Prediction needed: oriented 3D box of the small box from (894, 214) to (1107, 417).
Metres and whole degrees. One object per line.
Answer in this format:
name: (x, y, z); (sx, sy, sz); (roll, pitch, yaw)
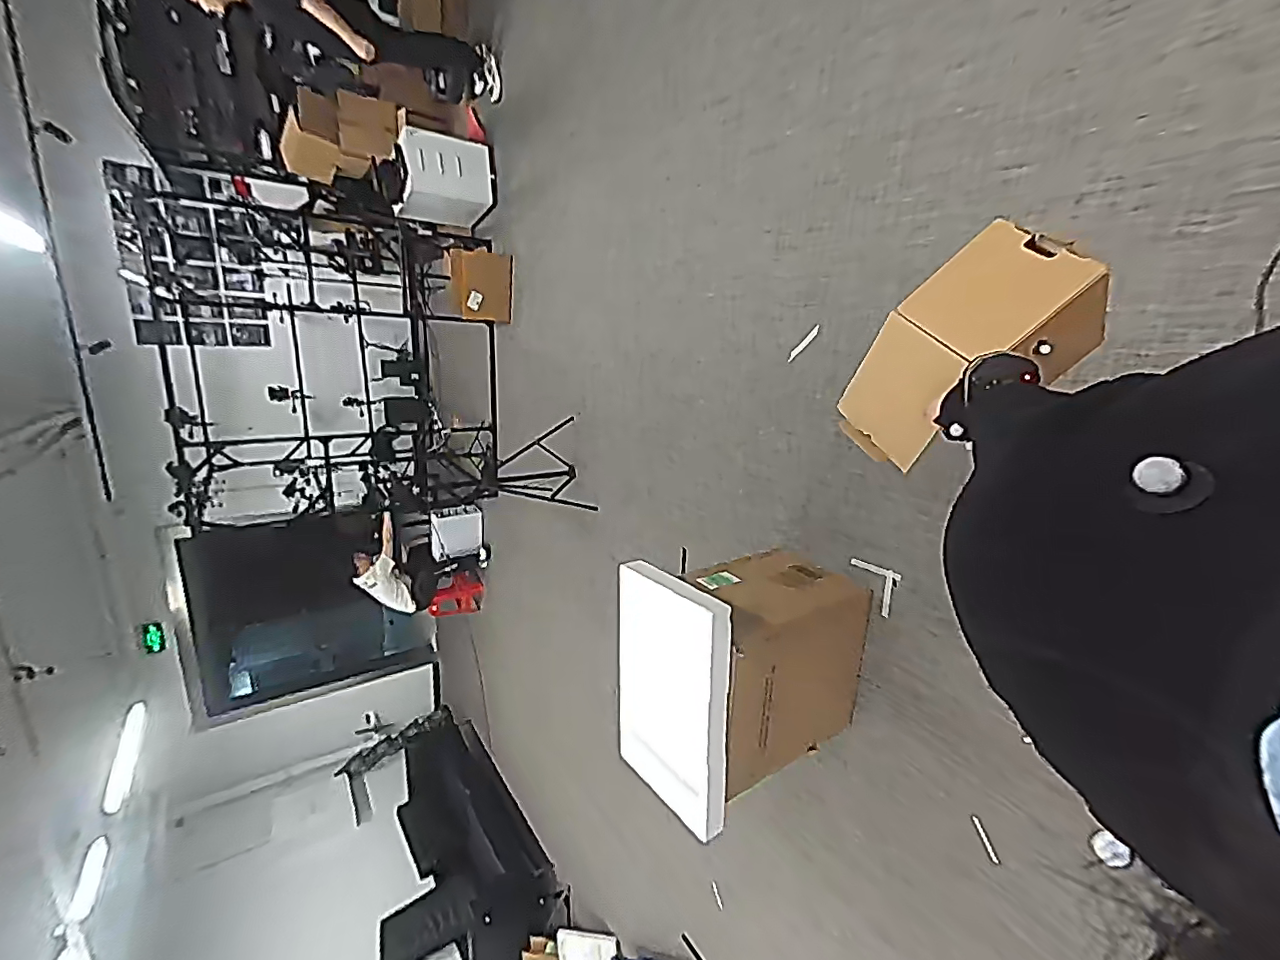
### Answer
small box: (0.499, -0.219, 0.755); (0.179, 0.176, 0.168); (-42, 50, 15)
